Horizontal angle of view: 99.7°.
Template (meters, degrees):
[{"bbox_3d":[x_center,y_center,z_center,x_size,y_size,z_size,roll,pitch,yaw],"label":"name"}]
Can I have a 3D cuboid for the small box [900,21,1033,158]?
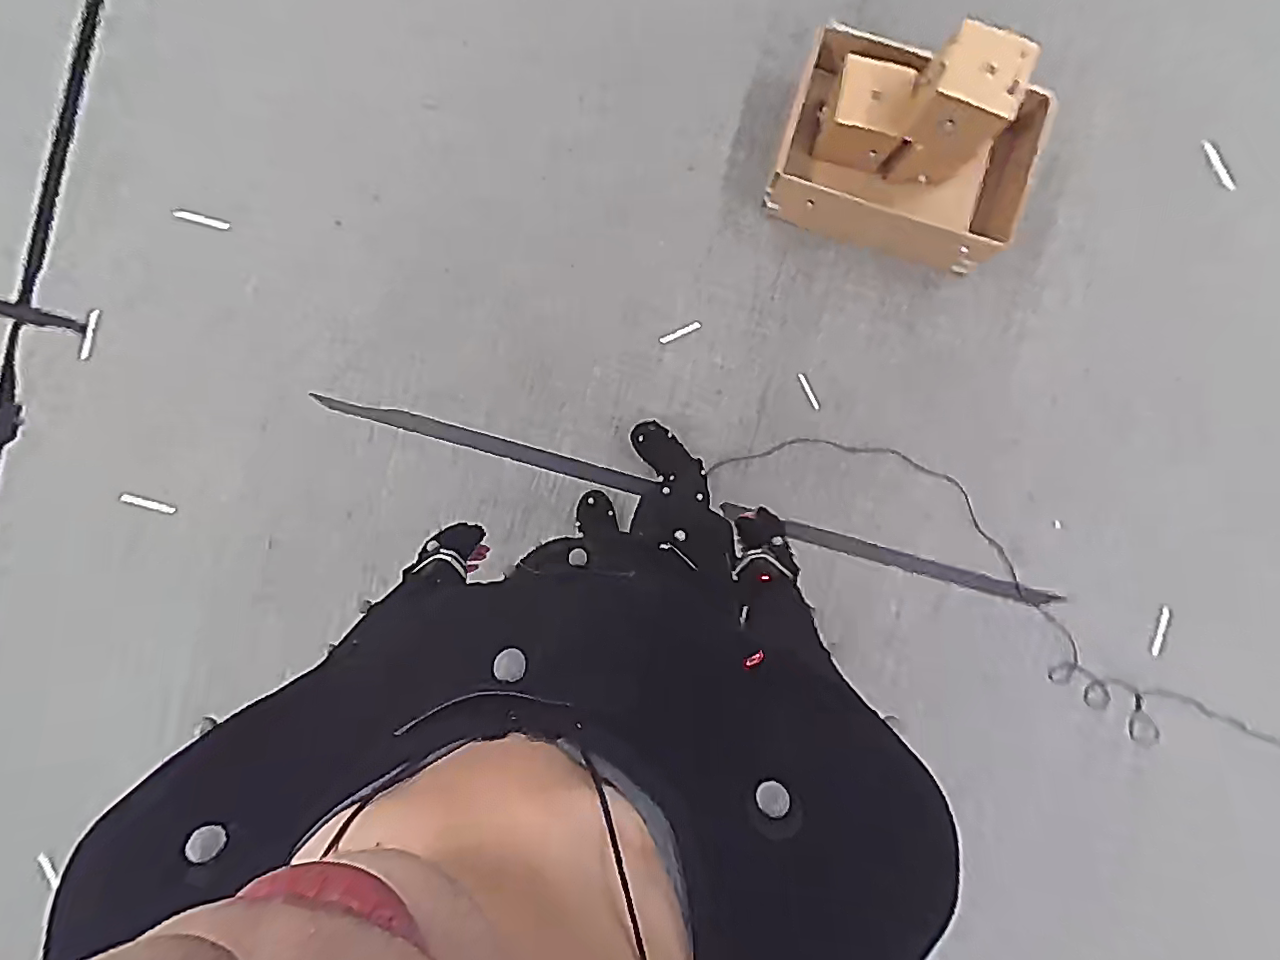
[{"bbox_3d":[0.728,-0.874,1.229,0.179,0.176,0.168,20,93,0],"label":"small box"}]
